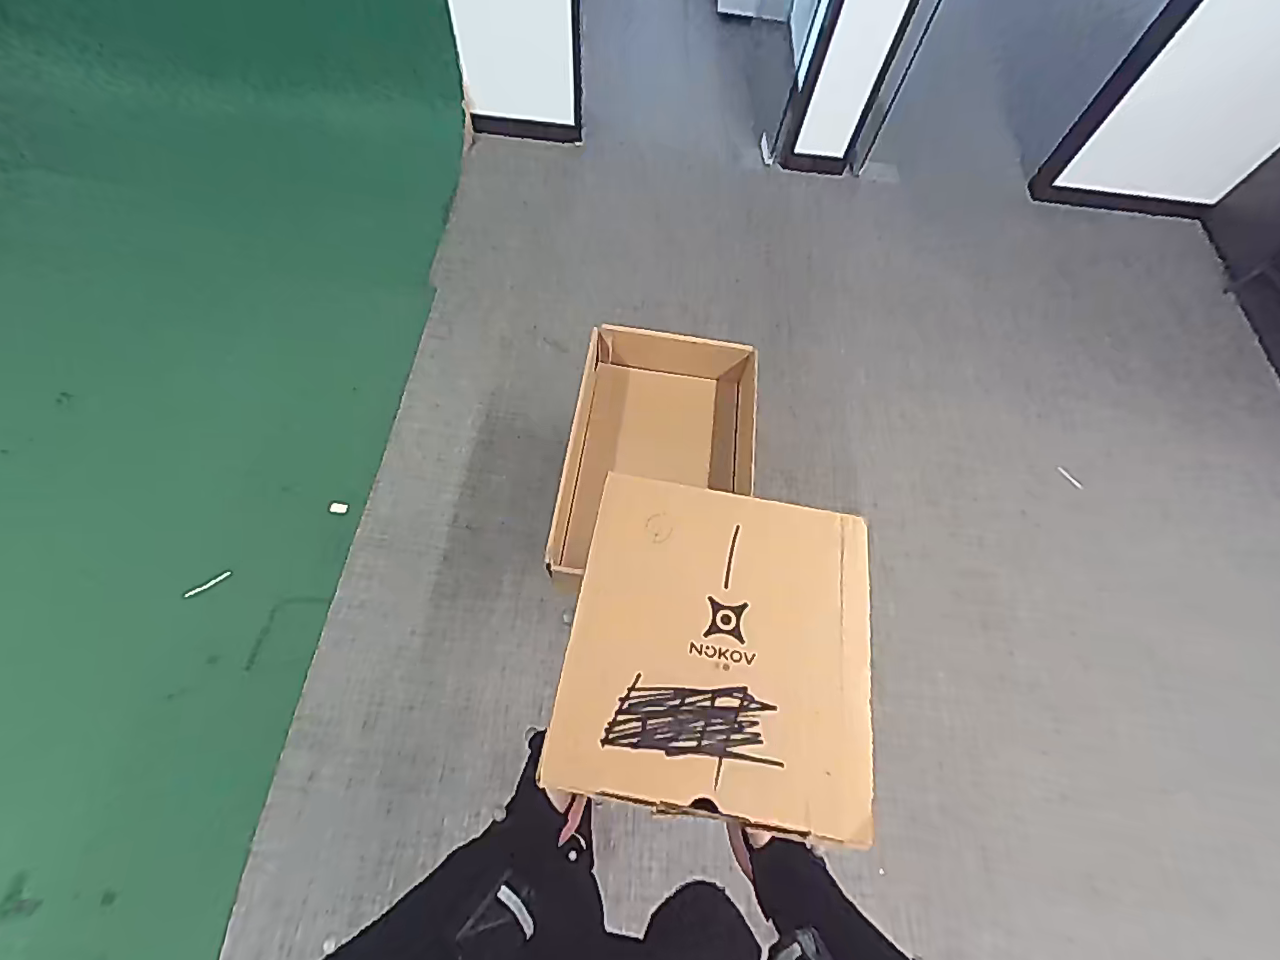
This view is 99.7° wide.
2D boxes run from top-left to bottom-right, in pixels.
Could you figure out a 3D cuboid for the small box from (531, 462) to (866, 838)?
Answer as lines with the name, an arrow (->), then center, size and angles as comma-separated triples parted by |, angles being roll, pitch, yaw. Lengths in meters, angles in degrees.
small box -> 0.038, 0.113, 0.367 | 0.168, 0.176, 0.179 | 10, 63, 2
